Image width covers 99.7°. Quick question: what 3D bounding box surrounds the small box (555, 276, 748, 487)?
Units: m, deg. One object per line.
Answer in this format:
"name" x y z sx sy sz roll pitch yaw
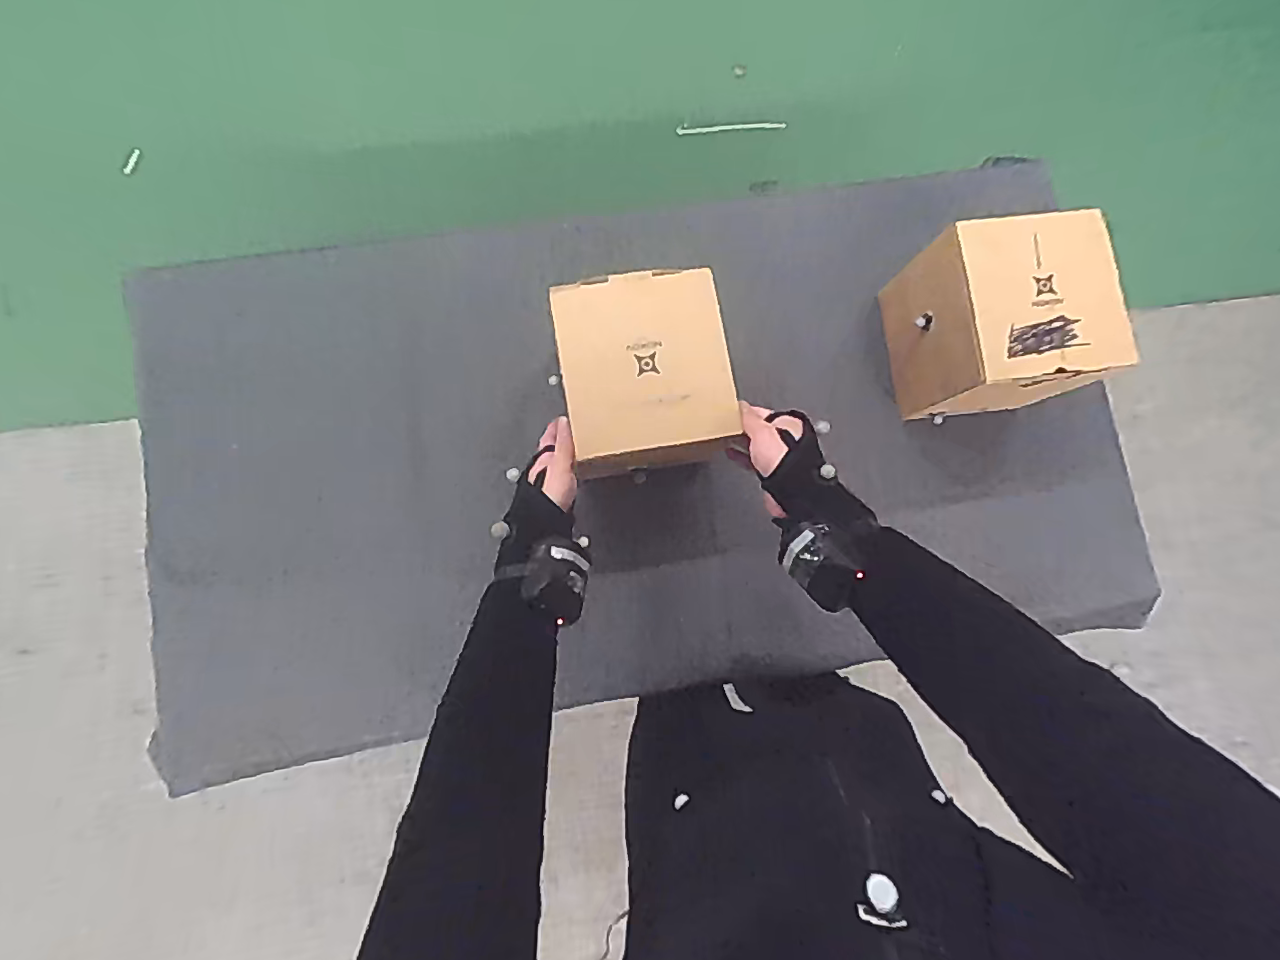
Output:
"small box" 0.003 -0.097 0.601 0.168 0.176 0.179 -11 85 -6

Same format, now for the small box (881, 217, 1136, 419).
"small box" 0.411 -0.174 0.634 0.168 0.176 0.179 -7 83 -4
